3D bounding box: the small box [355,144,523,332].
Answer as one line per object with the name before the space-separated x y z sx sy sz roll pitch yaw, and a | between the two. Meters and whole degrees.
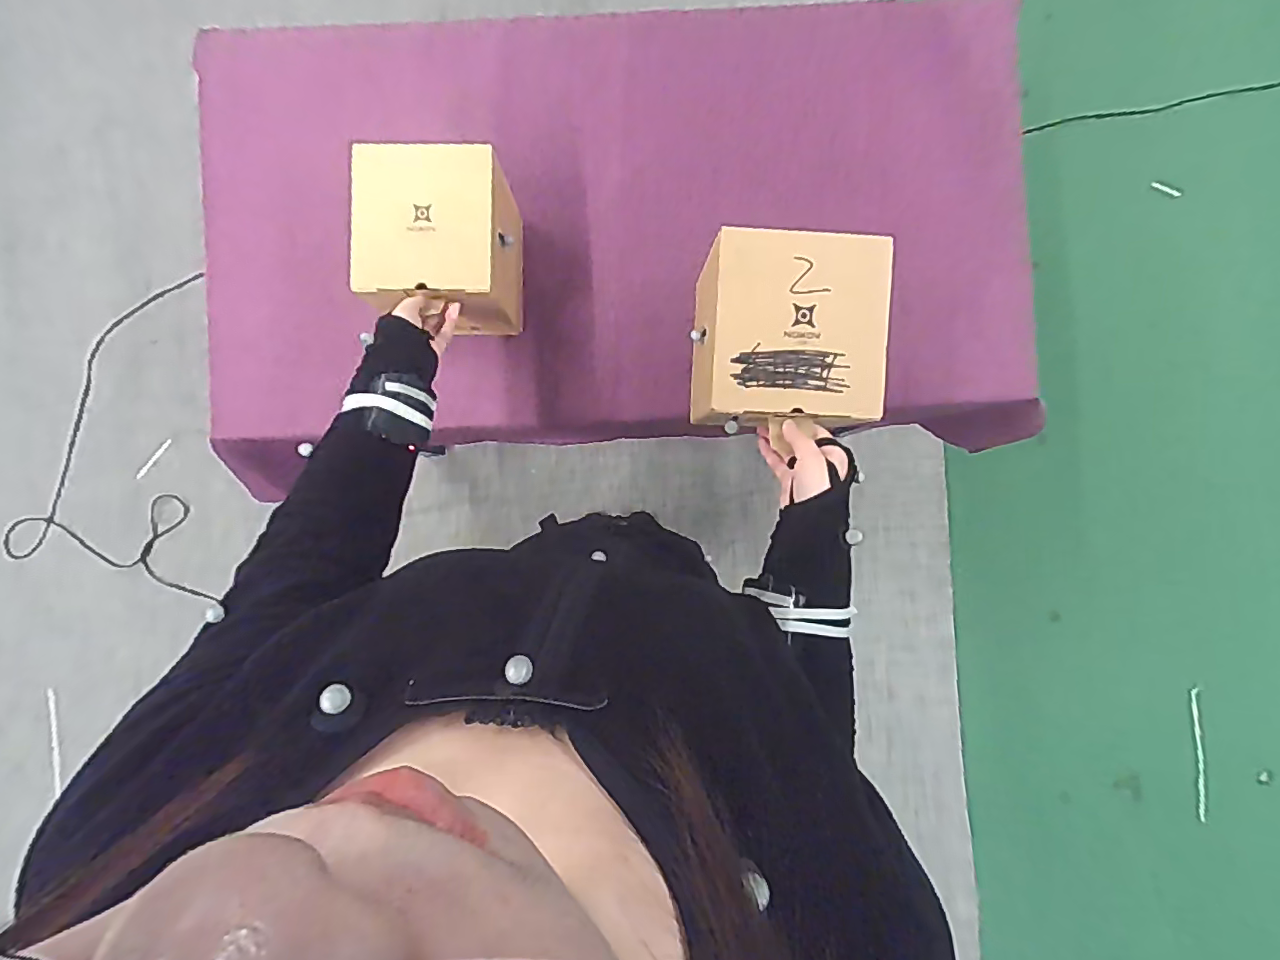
small box | -0.256 -0.311 0.724 0.168 0.176 0.179 1 89 -1
